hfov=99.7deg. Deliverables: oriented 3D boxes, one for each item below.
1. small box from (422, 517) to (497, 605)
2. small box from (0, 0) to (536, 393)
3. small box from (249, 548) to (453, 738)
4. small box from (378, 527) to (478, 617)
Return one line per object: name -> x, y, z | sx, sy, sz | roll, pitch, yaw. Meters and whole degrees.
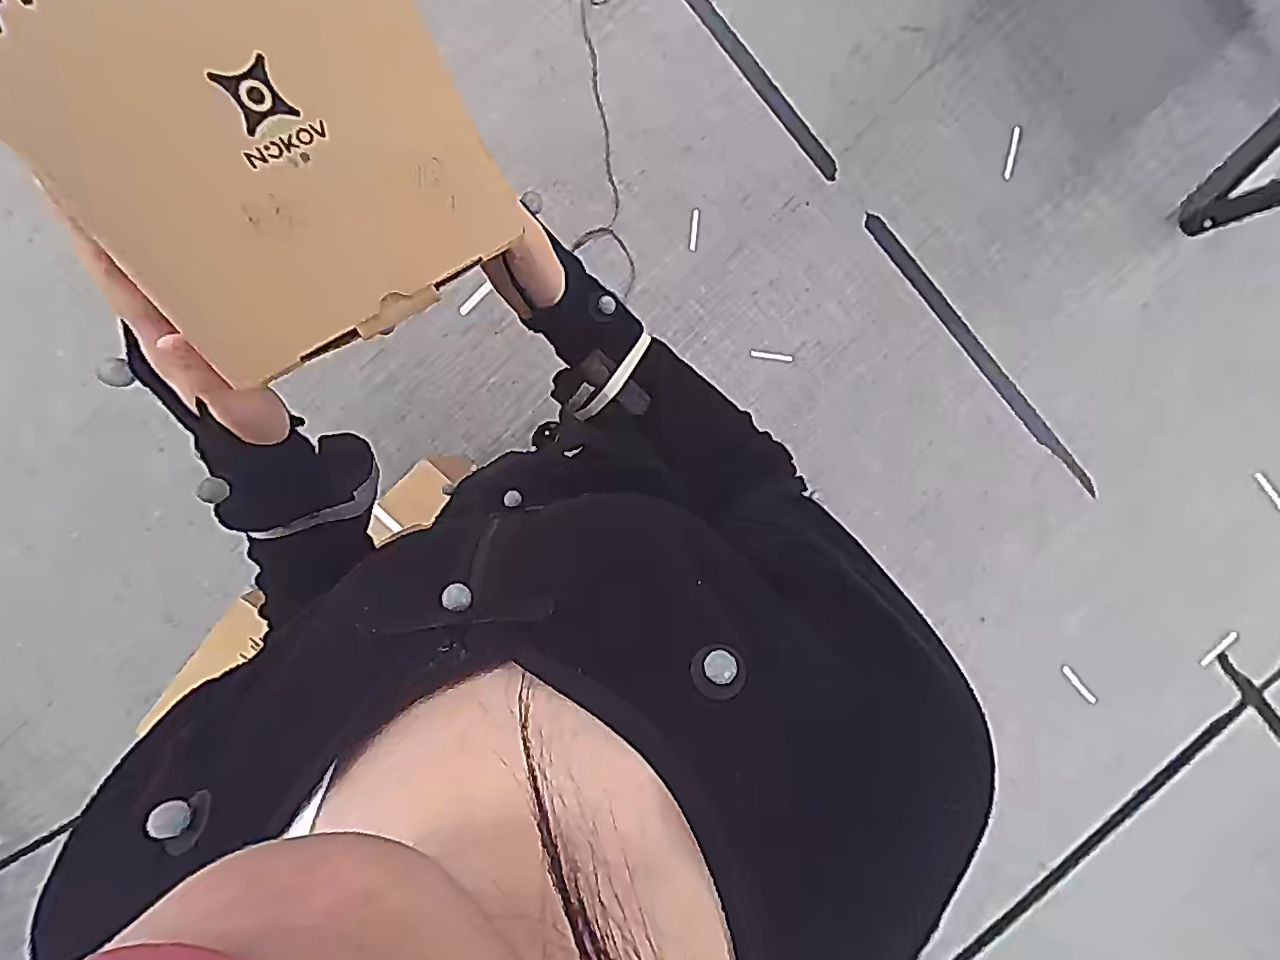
small box -> -0.418, 0.197, 1.109 | 0.168, 0.176, 0.179 | 44, 90, -6
small box -> -0.192, -0.175, 0.299 | 0.168, 0.176, 0.179 | -38, 123, -18
small box -> -0.396, 0.220, 0.783 | 0.168, 0.176, 0.179 | 39, 91, -4
small box -> -0.407, 0.202, 0.947 | 0.168, 0.176, 0.179 | 43, 91, -4
